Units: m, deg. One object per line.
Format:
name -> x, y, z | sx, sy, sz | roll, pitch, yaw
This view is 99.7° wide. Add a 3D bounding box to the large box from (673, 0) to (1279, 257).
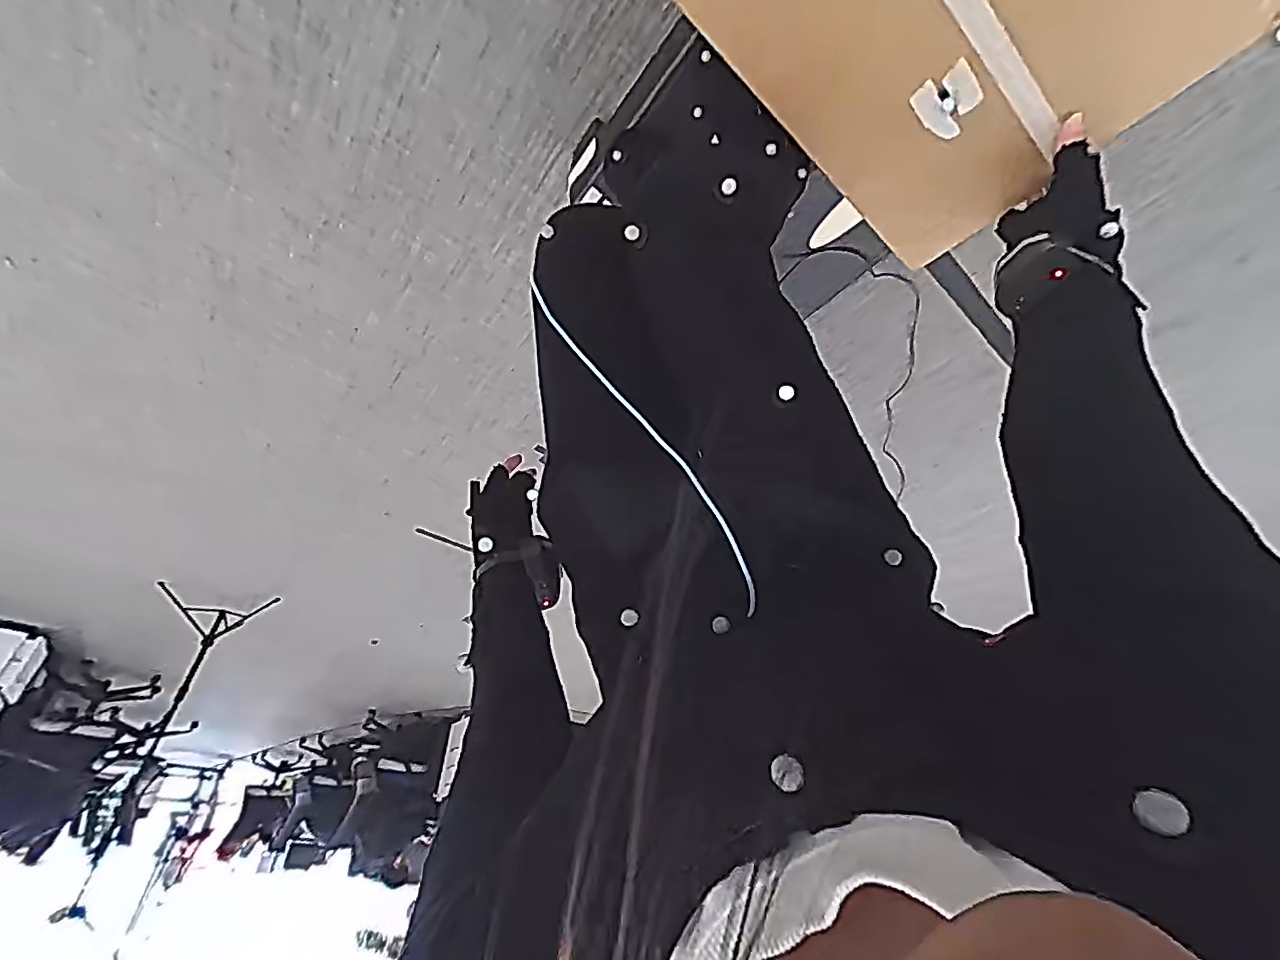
large box -> 0.275, -0.523, 0.522 | 0.408, 0.320, 0.320 | 31, 141, -25
